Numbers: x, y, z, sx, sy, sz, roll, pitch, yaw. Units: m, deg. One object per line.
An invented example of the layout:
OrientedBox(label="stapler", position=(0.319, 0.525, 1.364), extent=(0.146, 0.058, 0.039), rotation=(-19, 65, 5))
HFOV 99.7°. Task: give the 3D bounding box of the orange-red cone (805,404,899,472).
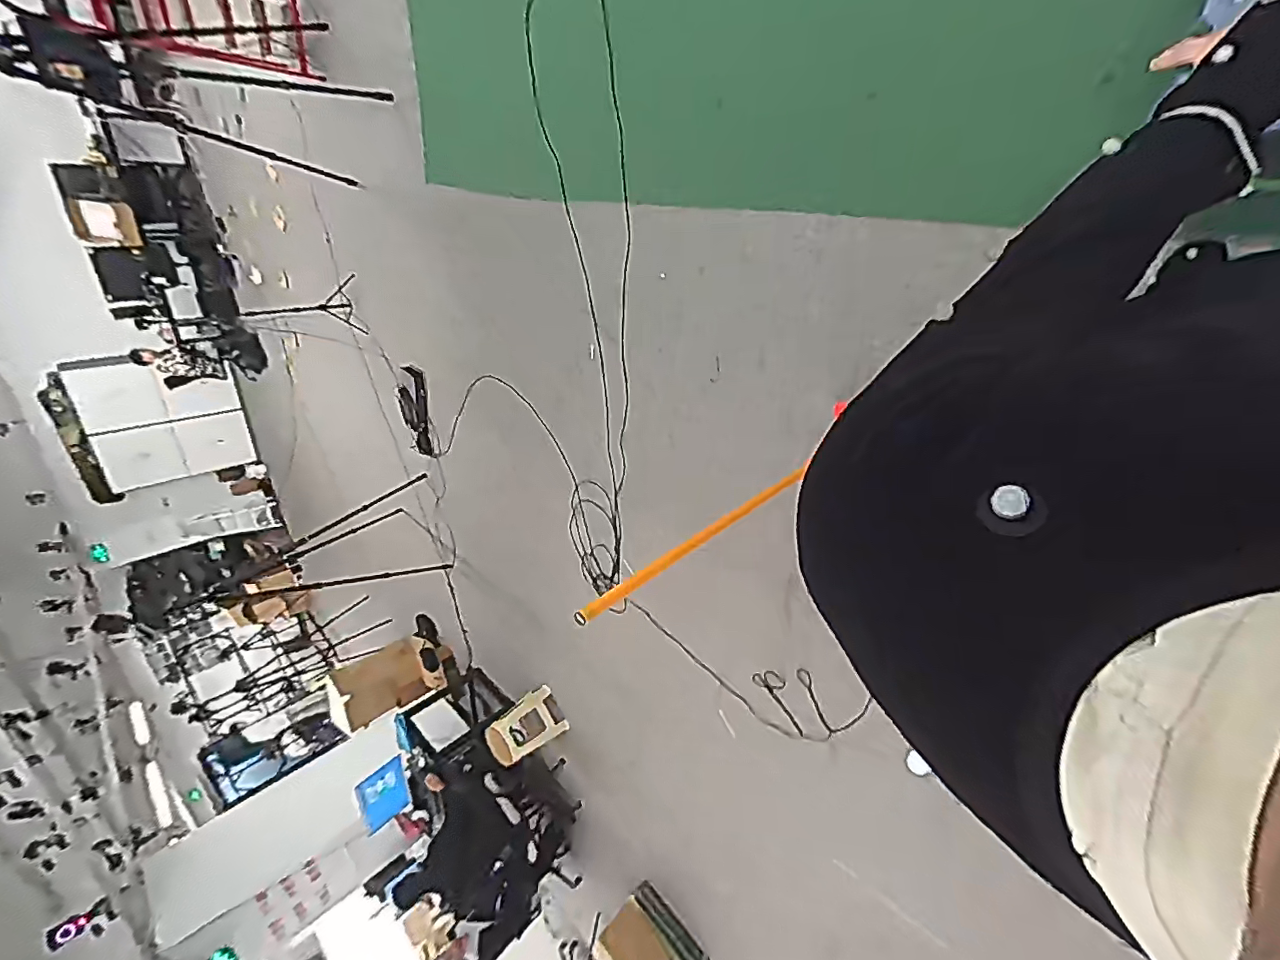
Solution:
OrientedBox(label="orange-red cone", position=(0.585, -0.088, 1.582), extent=(0.199, 0.360, 0.198), rotation=(10, 114, 45))
